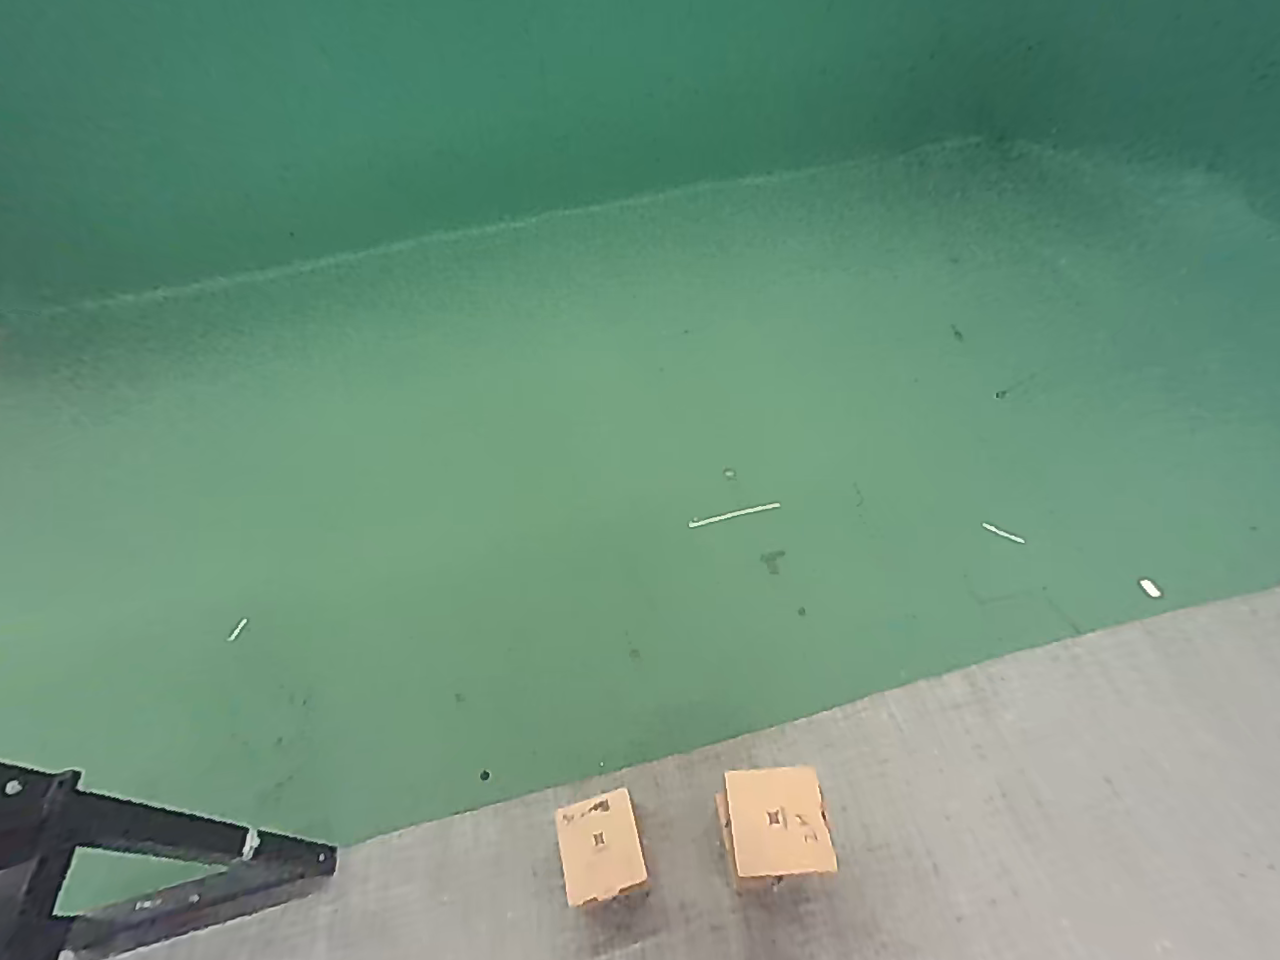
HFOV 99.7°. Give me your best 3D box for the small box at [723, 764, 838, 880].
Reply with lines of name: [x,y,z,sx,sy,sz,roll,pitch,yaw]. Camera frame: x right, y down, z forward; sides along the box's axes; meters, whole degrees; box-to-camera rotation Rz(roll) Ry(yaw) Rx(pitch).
small box: [0.255,0.652,1.027,0.179,0.176,0.168,-5,51,2]

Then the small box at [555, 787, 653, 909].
small box: [-0.075,0.794,1.164,0.168,0.176,0.179,-15,50,-5]
